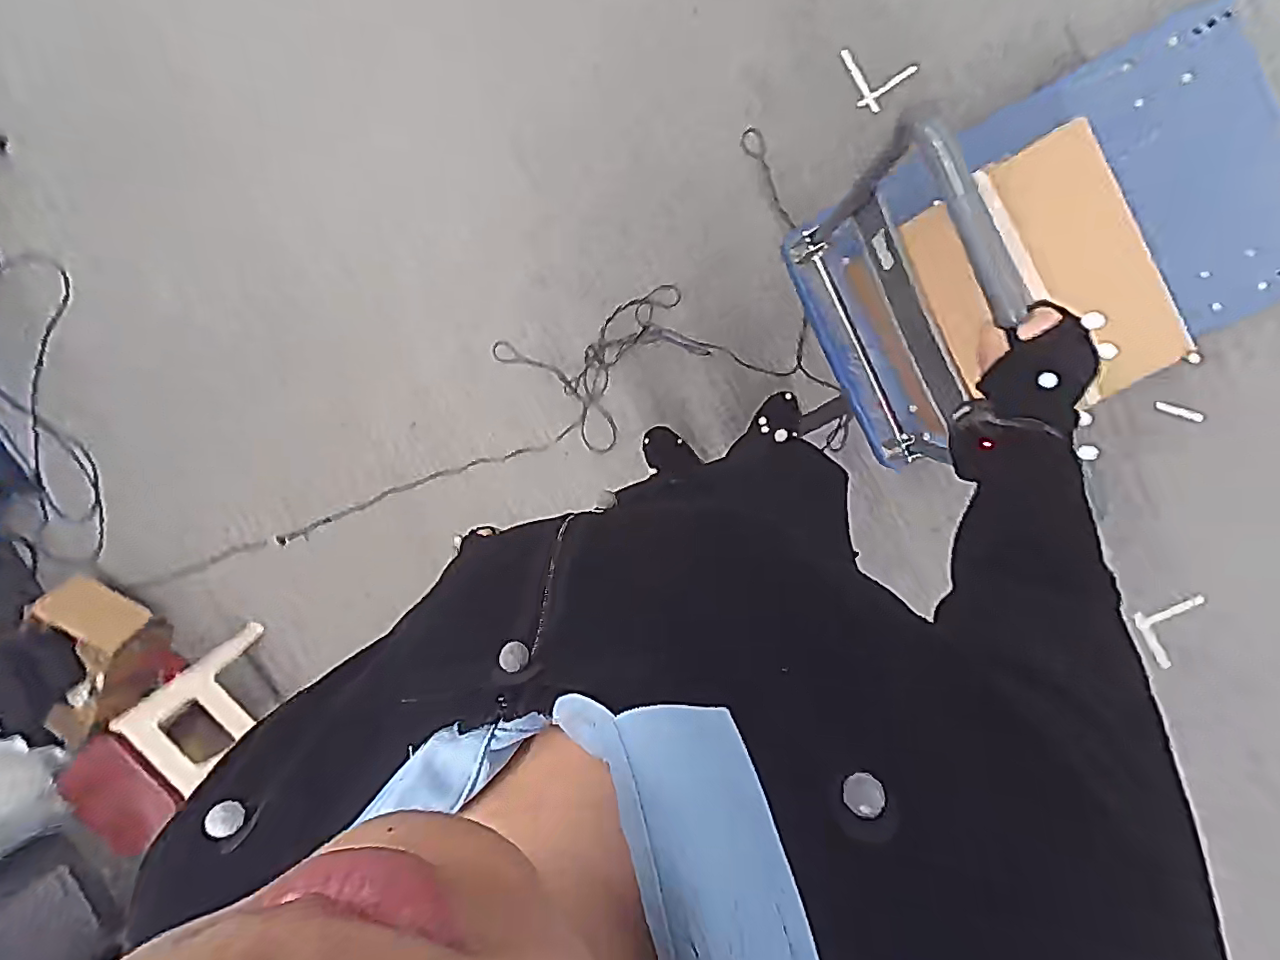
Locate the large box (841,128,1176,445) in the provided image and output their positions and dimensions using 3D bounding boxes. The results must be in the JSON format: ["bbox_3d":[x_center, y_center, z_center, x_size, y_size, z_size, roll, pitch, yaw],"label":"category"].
[{"bbox_3d":[0.641,-0.328,1.016,0.320,0.320,0.408,-30,96,14],"label":"large box"}]
